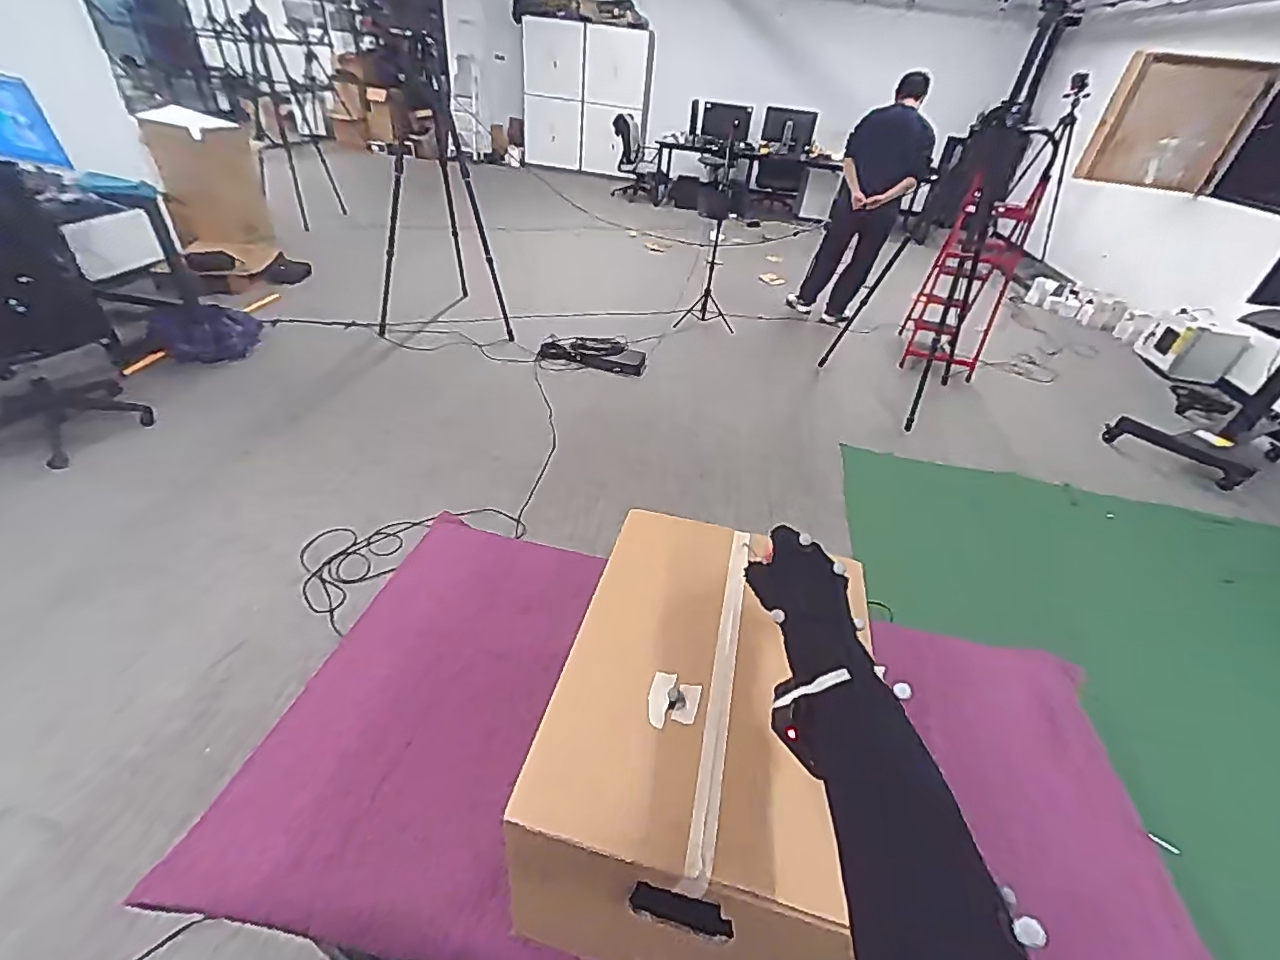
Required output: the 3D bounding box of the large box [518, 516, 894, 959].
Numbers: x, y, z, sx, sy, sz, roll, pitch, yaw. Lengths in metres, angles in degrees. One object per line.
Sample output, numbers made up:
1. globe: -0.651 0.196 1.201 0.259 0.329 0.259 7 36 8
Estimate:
1. large box: 0.072 0.314 0.668 0.320 0.320 0.408 13 38 8
